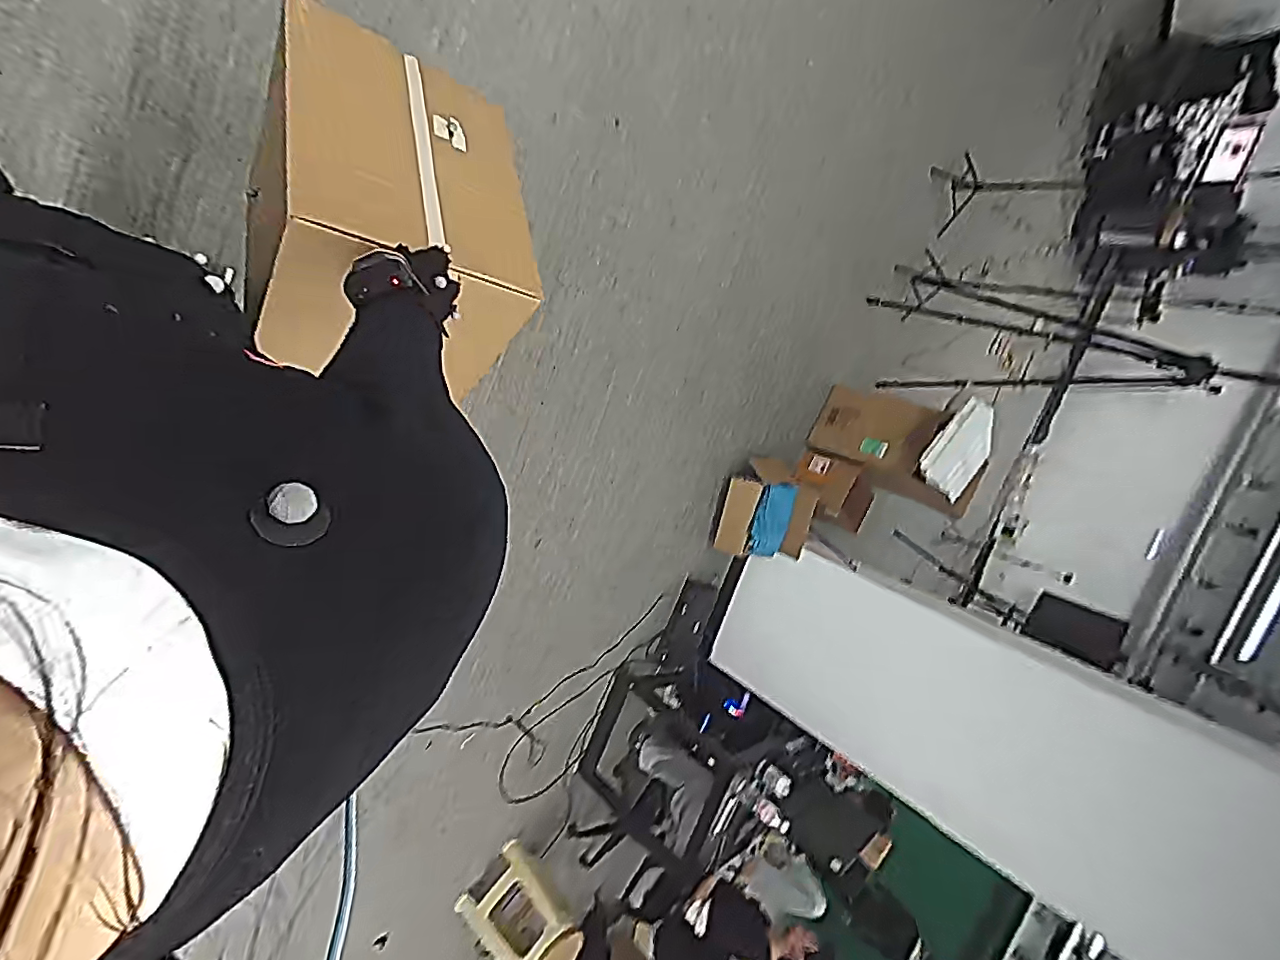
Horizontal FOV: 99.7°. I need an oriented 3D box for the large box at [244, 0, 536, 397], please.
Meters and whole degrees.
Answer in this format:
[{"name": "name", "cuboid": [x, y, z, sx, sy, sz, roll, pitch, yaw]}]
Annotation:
[{"name": "large box", "cuboid": [-0.406, -0.388, 0.842, 0.320, 0.320, 0.408, 4, 62, -44]}]
